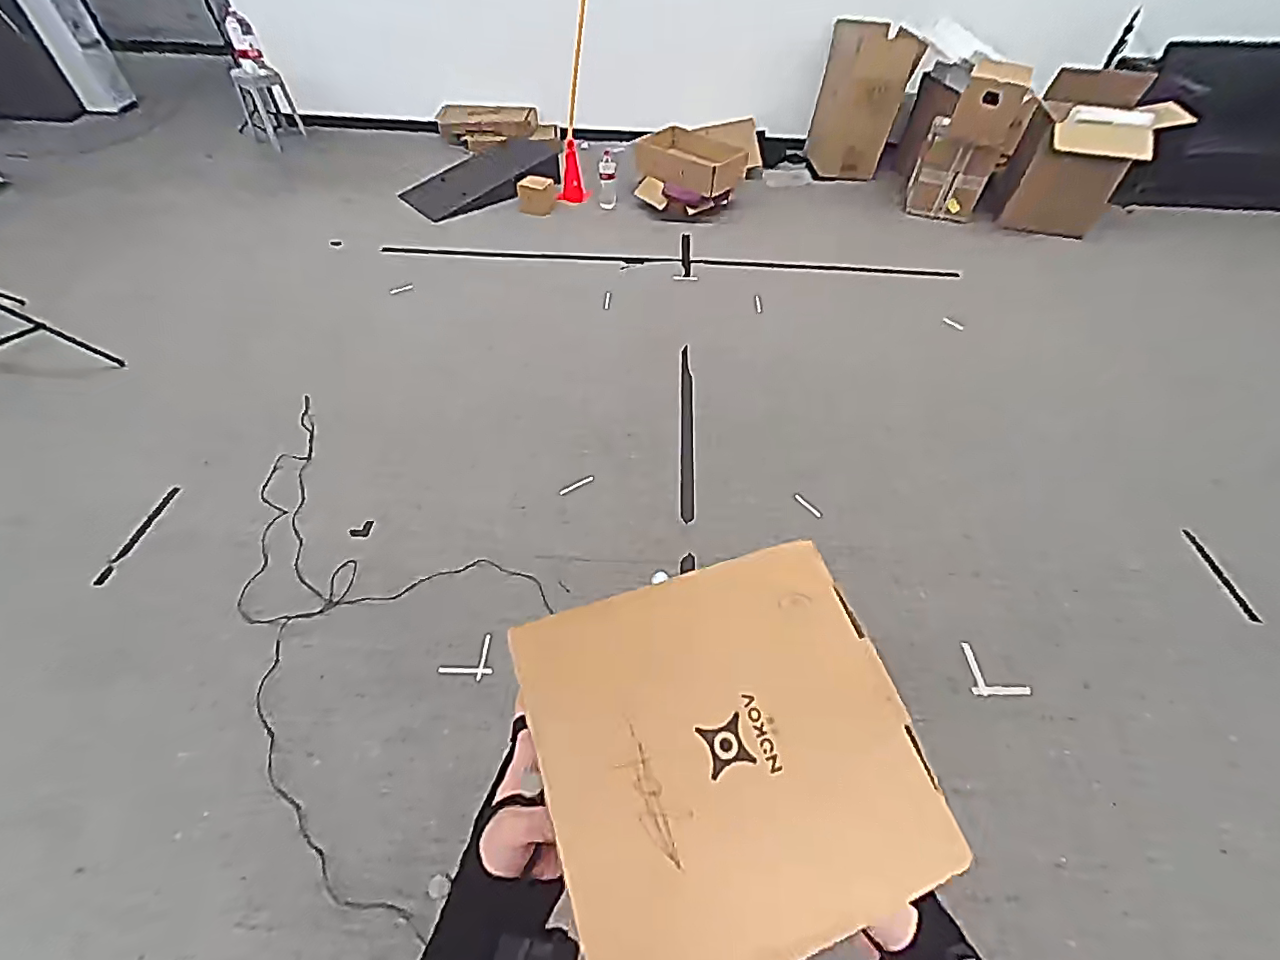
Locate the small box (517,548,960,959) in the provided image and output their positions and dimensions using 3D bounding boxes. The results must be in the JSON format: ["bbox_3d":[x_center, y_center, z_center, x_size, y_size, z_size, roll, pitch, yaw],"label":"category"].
[{"bbox_3d":[0.034,0.165,0.331,0.179,0.176,0.168,-16,64,-15],"label":"small box"}]
